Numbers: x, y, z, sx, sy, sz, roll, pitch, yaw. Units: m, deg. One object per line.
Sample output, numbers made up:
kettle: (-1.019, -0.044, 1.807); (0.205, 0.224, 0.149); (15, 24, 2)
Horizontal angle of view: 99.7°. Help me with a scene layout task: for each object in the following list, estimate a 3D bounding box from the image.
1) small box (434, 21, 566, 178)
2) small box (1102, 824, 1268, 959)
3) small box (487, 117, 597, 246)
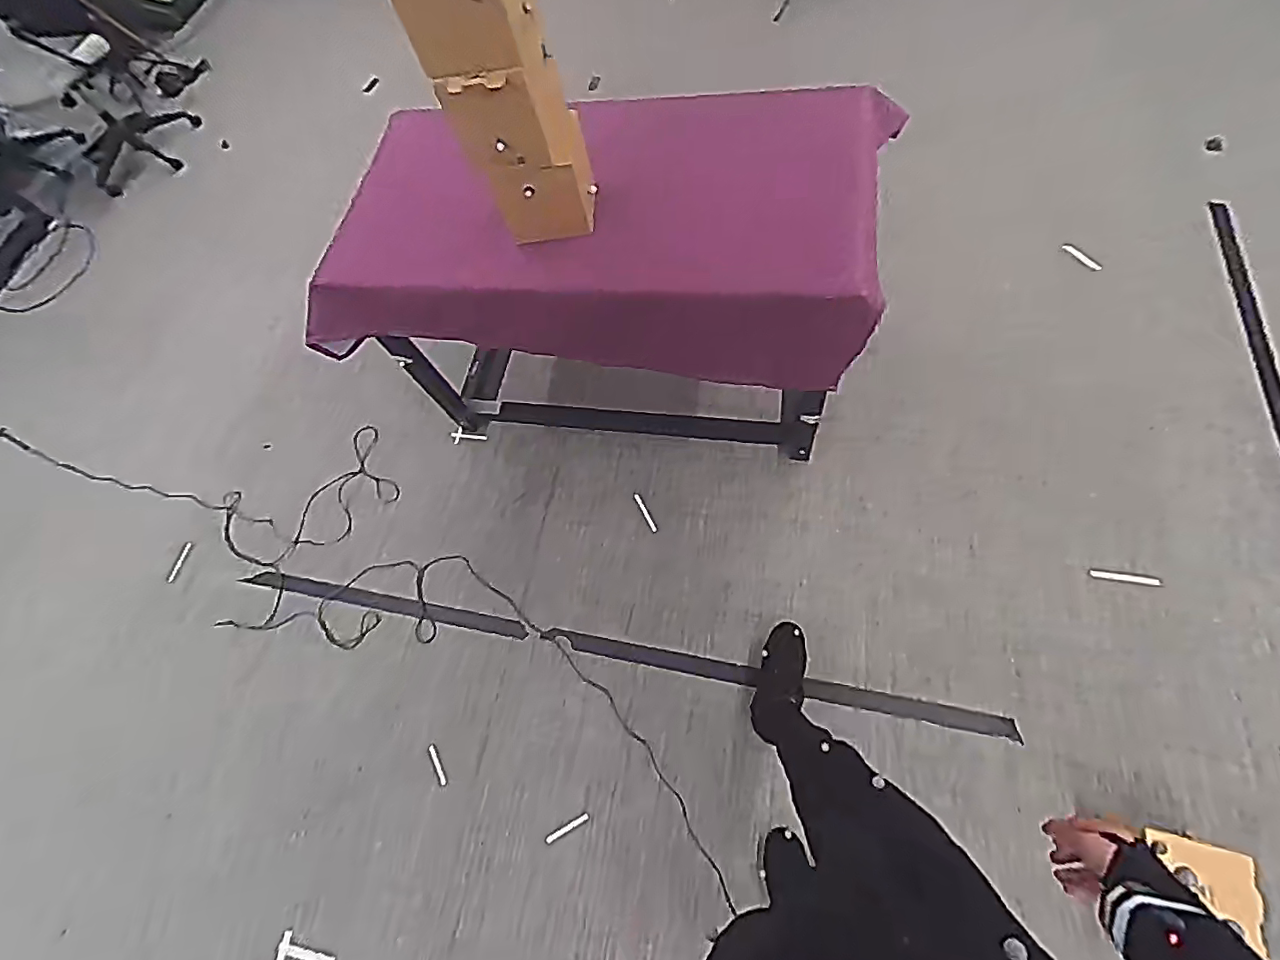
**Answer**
small box: (-0.244, -0.692, 0.995); (0.168, 0.176, 0.179); (1, 66, 11)
small box: (1.063, 0.808, 1.077); (0.179, 0.176, 0.168); (10, 68, 14)
small box: (-0.198, -0.617, 1.136); (0.179, 0.176, 0.168); (-4, 66, 8)
